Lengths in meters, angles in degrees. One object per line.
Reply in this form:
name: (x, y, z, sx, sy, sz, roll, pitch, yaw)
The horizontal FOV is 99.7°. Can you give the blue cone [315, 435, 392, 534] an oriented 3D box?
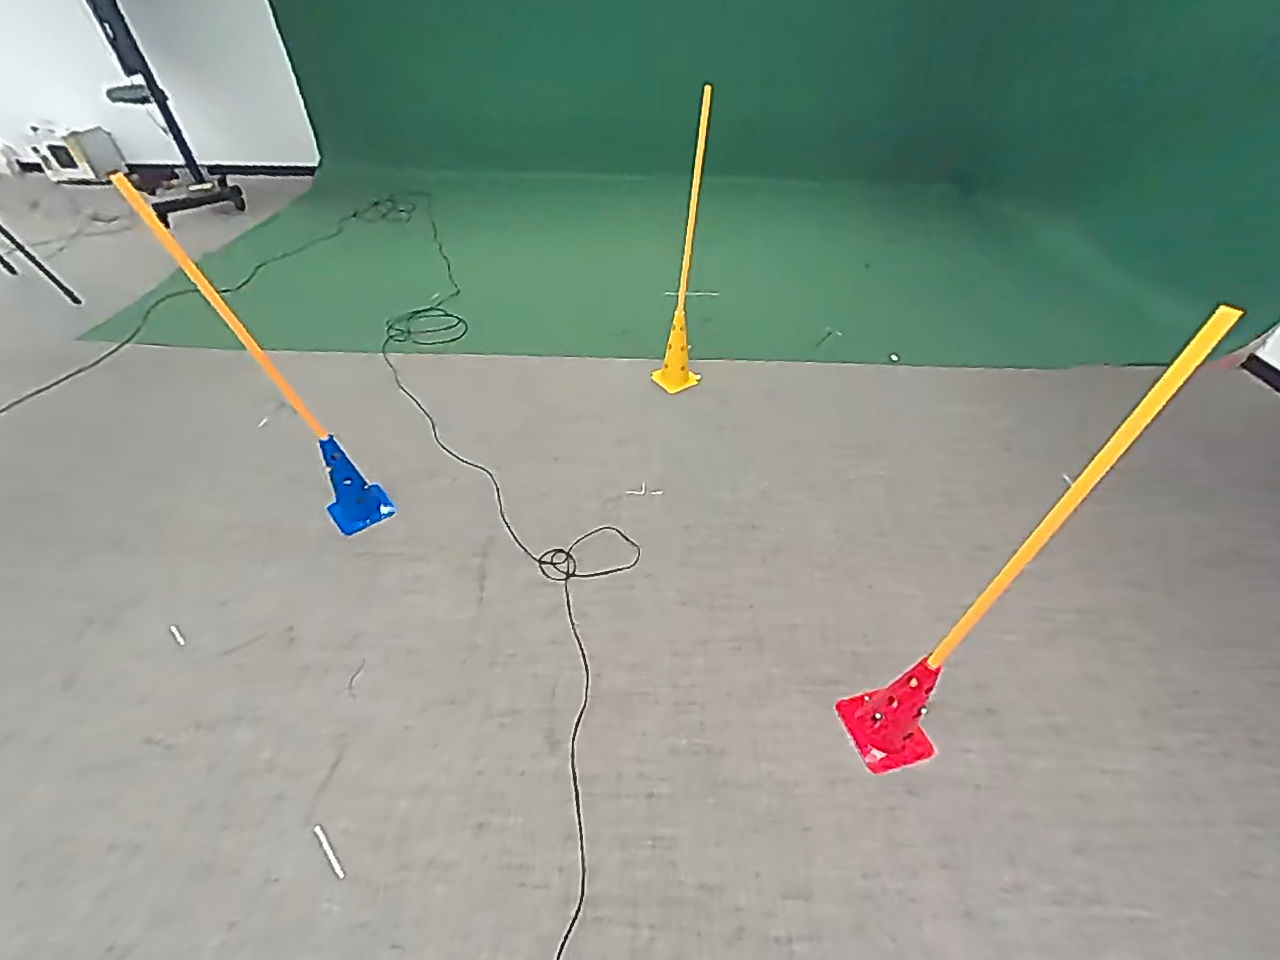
blue cone: (-1.044, -0.003, 1.902, 0.193, 0.380, 0.192, -34, 54, -28)
